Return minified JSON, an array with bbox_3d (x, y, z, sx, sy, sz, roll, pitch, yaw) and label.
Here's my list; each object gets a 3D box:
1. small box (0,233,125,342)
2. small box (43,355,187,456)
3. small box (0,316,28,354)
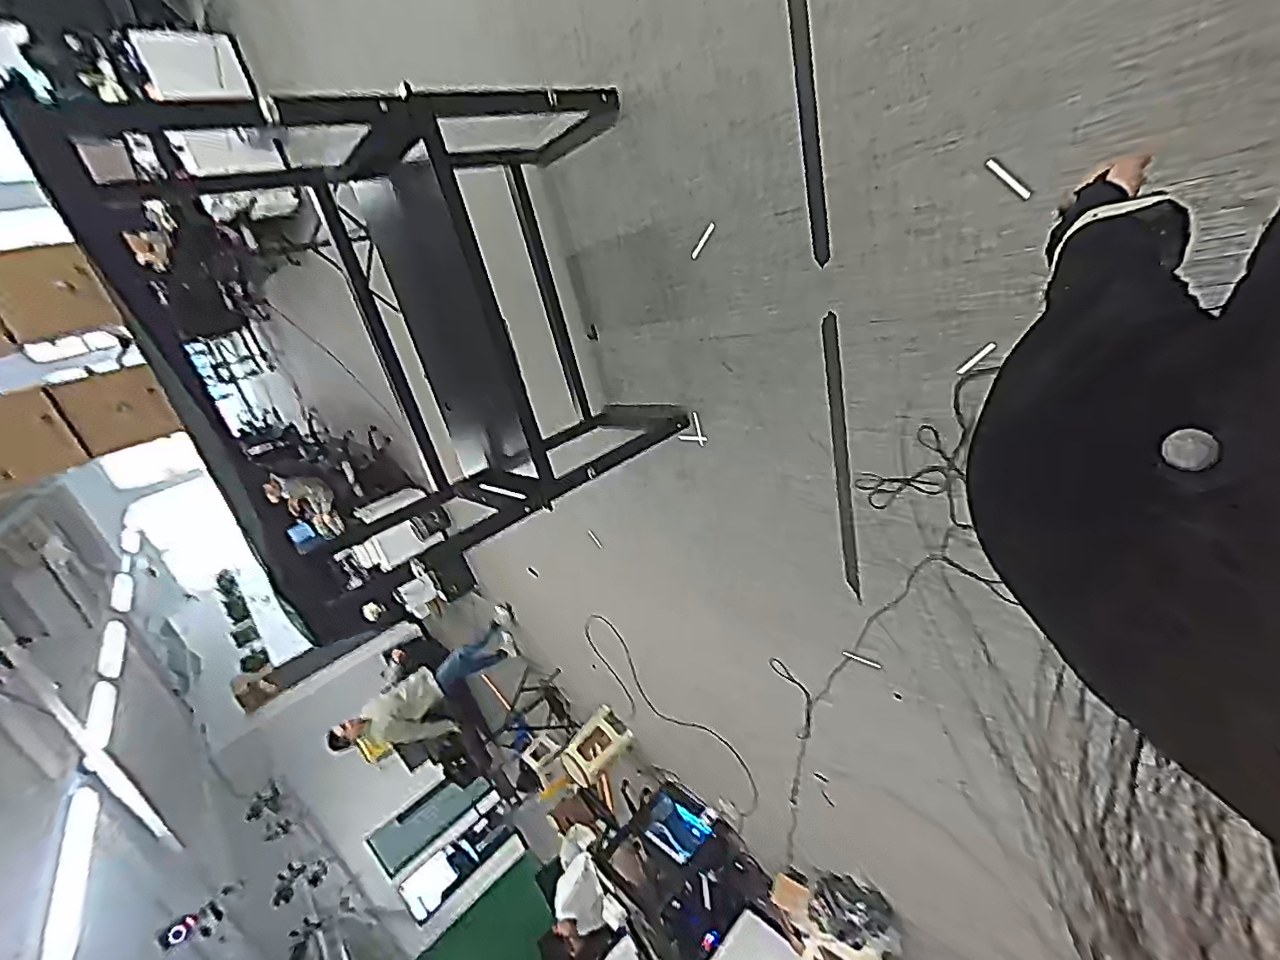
[{"bbox_3d":[-1.176,-0.381,1.080,0.179,0.176,0.168,13,125,47],"label":"small box"},{"bbox_3d":[-1.123,-0.169,1.172,0.179,0.176,0.168,15,125,46],"label":"small box"},{"bbox_3d":[-1.288,-0.310,0.977,0.168,0.176,0.179,7,119,50],"label":"small box"}]
